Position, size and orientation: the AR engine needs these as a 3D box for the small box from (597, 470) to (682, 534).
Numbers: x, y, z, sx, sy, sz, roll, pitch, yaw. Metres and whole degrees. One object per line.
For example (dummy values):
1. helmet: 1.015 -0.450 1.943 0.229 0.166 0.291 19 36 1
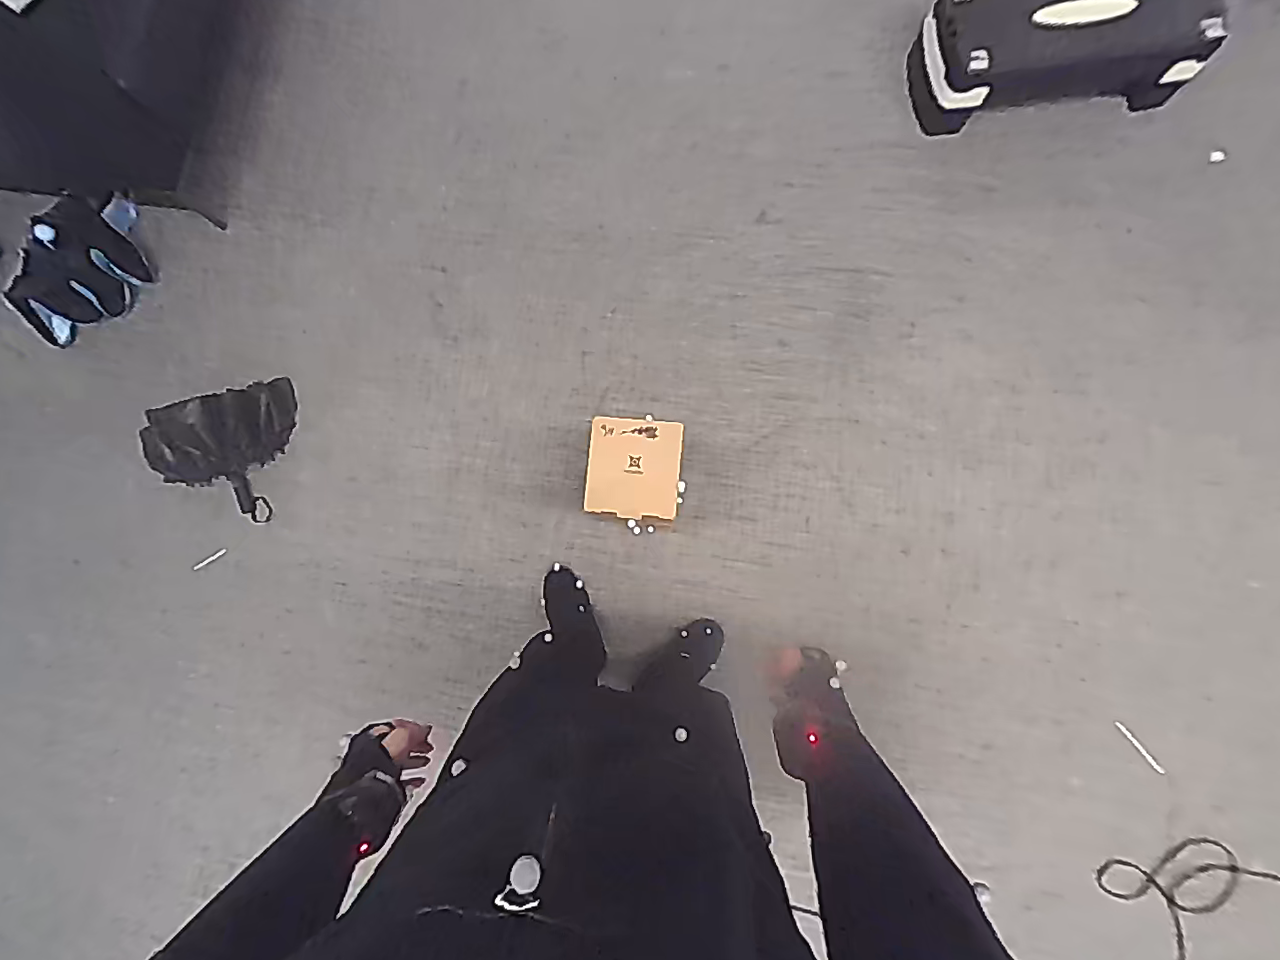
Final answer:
1. small box: 0.003 0.022 1.190 0.168 0.176 0.179 6 81 4

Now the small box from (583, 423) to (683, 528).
1. small box: -0.006 -0.002 1.029 0.168 0.176 0.179 4 83 4
